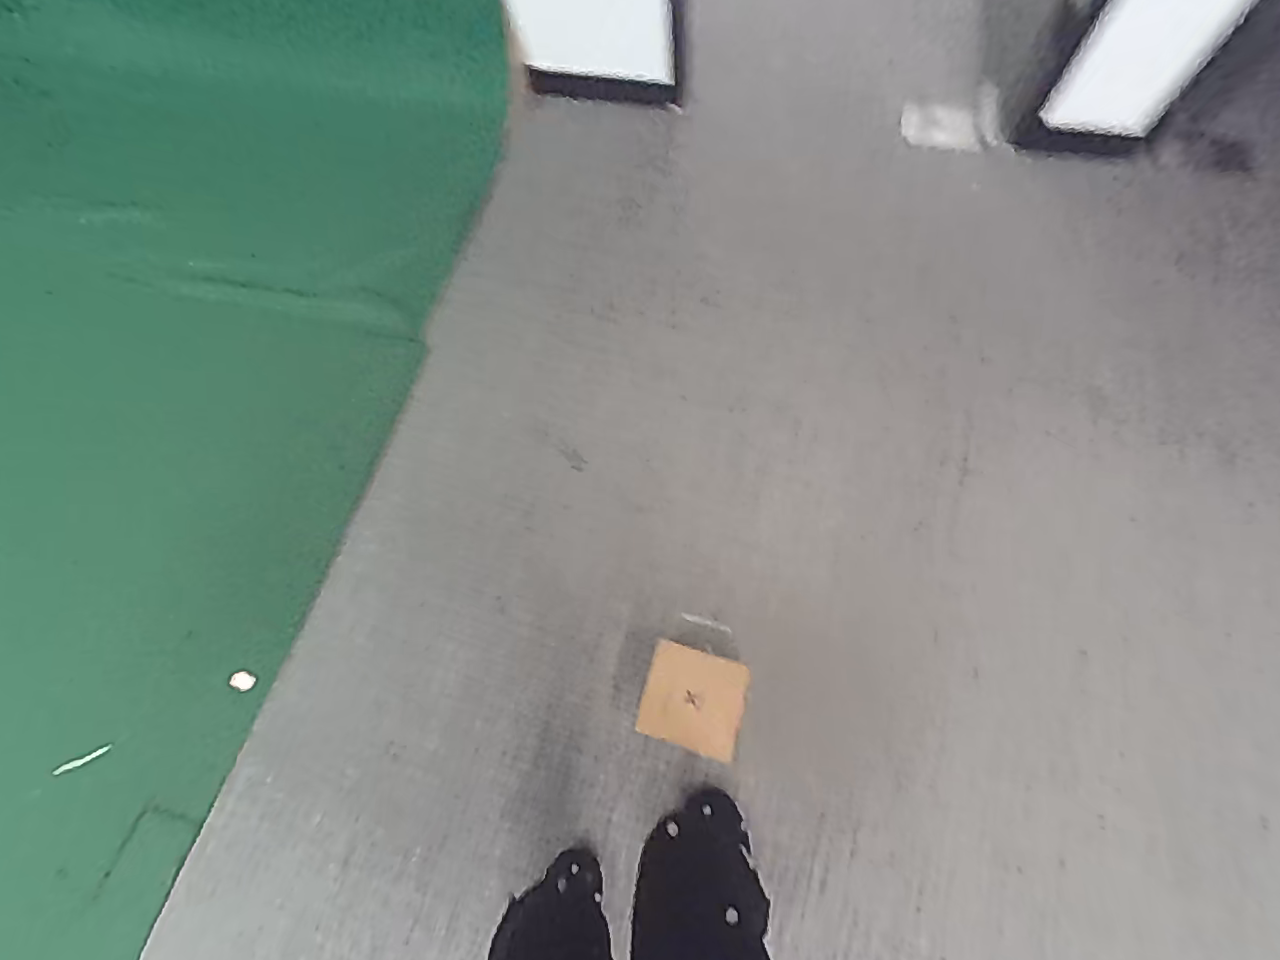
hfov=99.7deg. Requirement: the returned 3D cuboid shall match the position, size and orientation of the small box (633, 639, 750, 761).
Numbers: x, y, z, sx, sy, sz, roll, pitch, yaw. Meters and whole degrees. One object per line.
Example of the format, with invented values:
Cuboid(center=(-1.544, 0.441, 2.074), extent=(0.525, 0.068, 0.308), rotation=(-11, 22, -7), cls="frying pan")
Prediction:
Cuboid(center=(0.103, 0.416, 1.043), extent=(0.179, 0.176, 0.168), rotation=(14, 73, 12), cls="small box")
